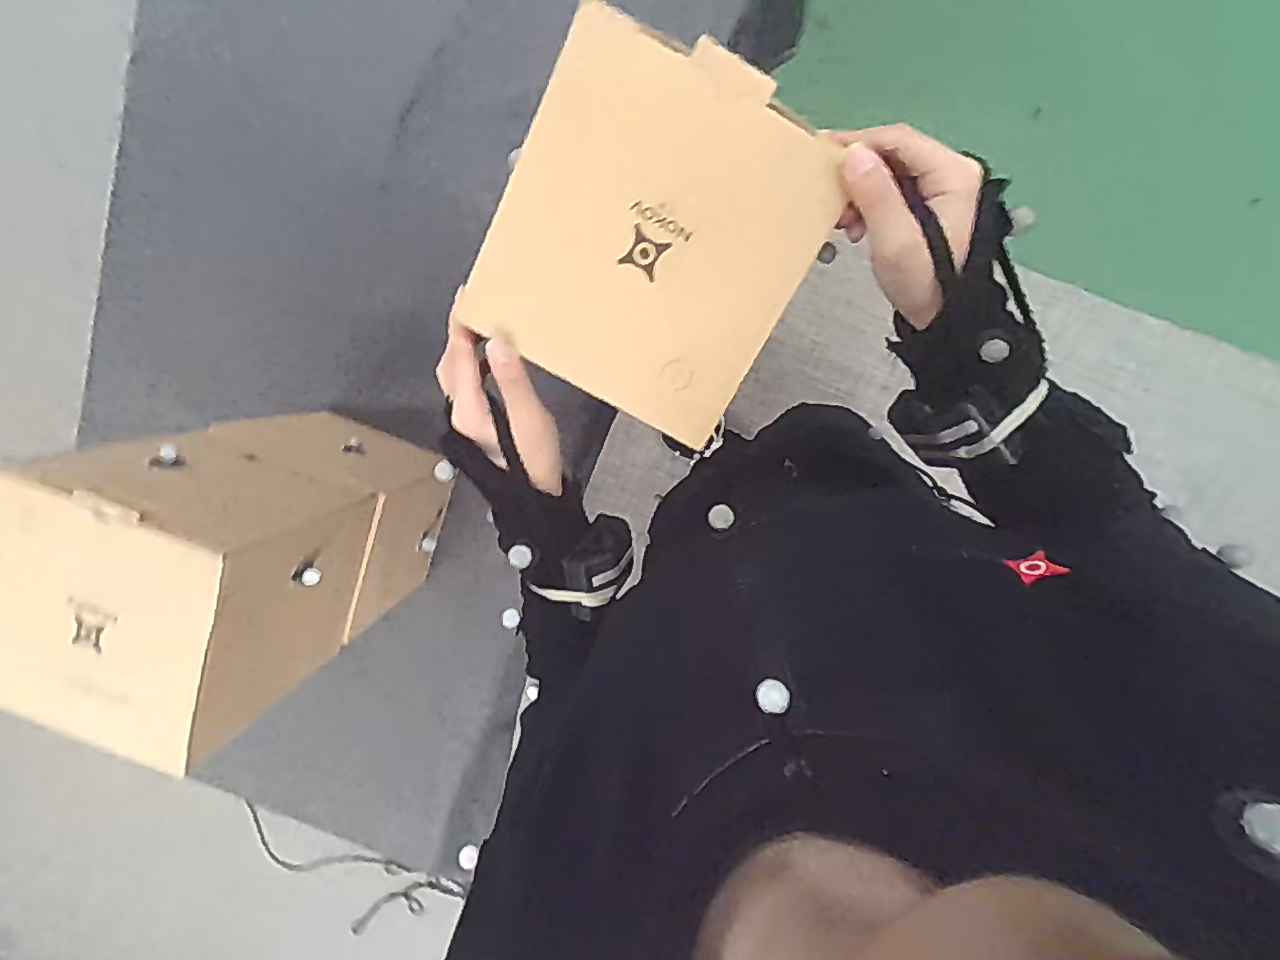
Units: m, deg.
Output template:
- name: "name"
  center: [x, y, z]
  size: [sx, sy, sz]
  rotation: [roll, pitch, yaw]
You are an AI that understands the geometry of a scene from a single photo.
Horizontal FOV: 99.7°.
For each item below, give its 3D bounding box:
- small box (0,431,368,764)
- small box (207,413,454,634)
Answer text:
- name: "small box"
  center: [-0.349, 0.072, 0.430]
  size: [0.168, 0.176, 0.179]
  rotation: [20, 104, 2]
- name: "small box"
  center: [-0.334, 0.033, 0.586]
  size: [0.179, 0.176, 0.168]
  rotation: [21, 103, 0]
